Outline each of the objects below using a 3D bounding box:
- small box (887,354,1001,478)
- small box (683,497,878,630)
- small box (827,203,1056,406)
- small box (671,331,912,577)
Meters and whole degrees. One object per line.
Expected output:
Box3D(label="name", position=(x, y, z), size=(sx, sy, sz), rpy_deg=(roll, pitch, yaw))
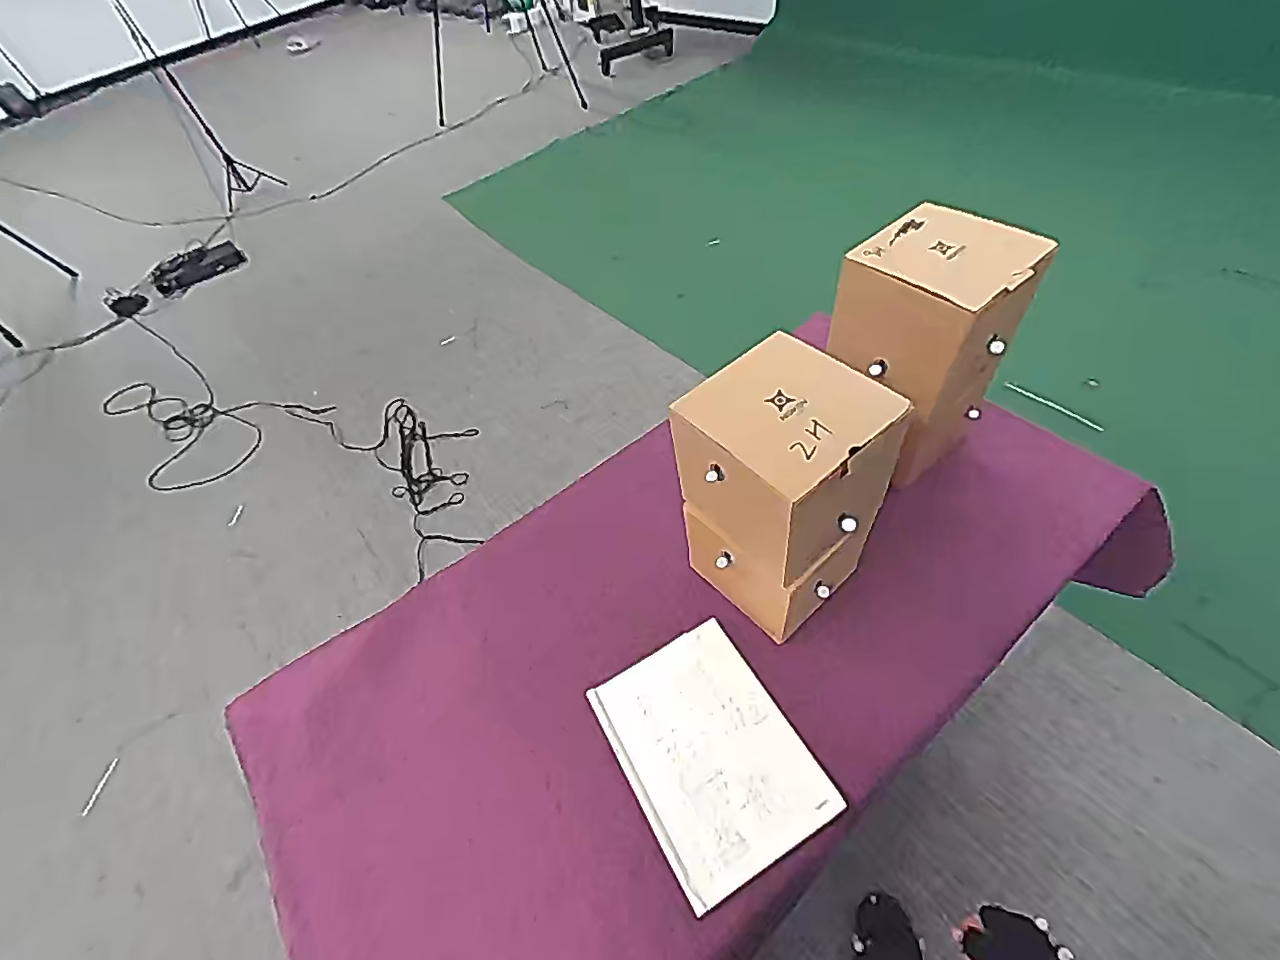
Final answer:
Box3D(label="small box", position=(0.402, -0.128, 0.839), size=(0.168, 0.176, 0.179), rpy_deg=(-35, 55, -16))
Box3D(label="small box", position=(0.181, 0.077, 0.727), size=(0.168, 0.176, 0.179), rpy_deg=(-38, 56, -18))
Box3D(label="small box", position=(0.375, -0.221, 0.707), size=(0.168, 0.176, 0.179), rpy_deg=(-35, 56, -17))
Box3D(label="small box", position=(0.156, -0.026, 0.600), size=(0.168, 0.176, 0.179), rpy_deg=(-35, 55, -16))
